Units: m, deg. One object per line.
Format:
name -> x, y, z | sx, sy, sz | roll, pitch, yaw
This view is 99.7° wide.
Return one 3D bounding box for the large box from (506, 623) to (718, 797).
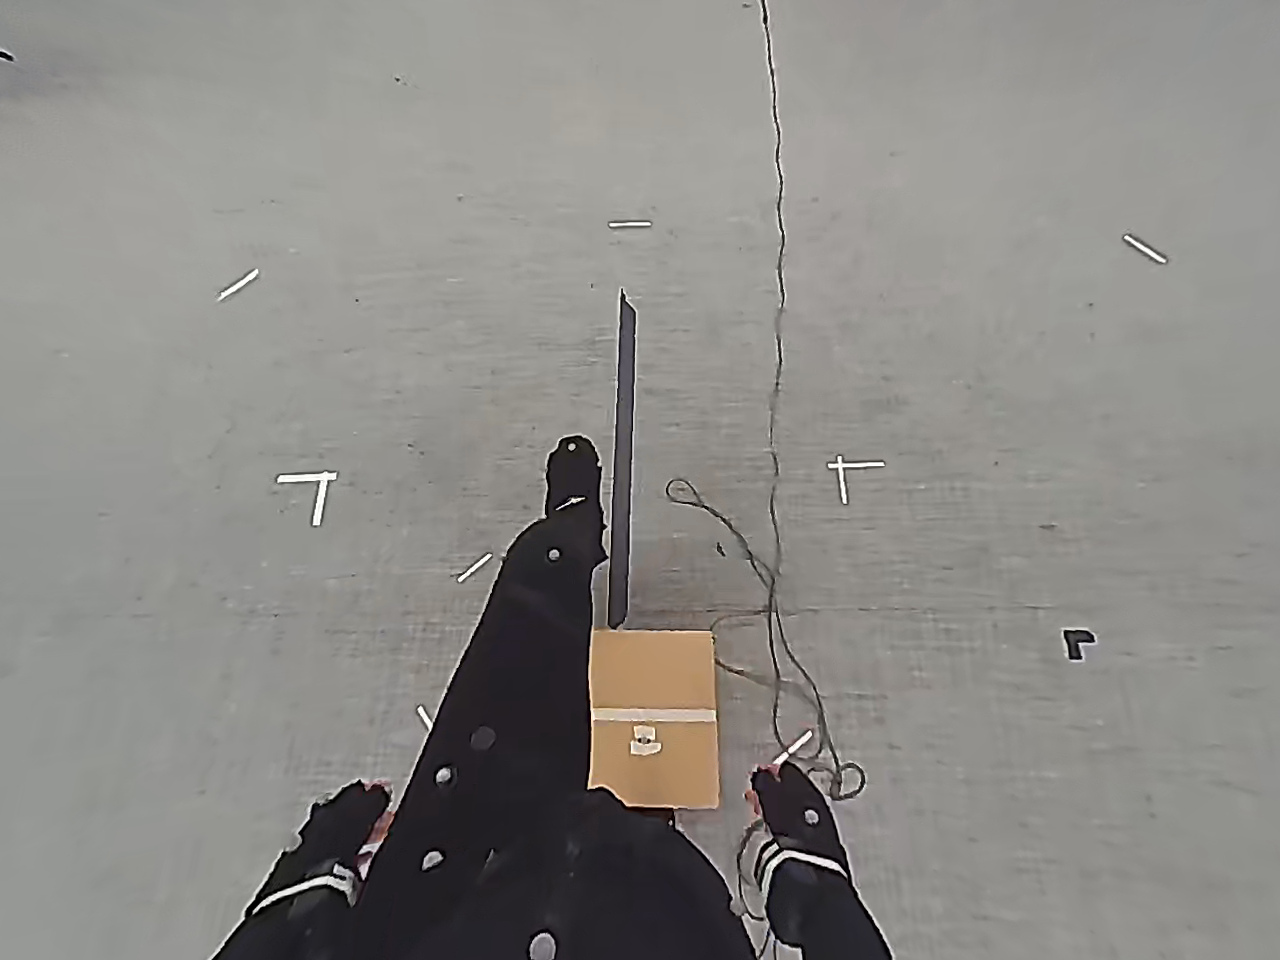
large box -> -0.049, 0.492, 1.189 | 0.408, 0.320, 0.320 | 0, 70, 3
